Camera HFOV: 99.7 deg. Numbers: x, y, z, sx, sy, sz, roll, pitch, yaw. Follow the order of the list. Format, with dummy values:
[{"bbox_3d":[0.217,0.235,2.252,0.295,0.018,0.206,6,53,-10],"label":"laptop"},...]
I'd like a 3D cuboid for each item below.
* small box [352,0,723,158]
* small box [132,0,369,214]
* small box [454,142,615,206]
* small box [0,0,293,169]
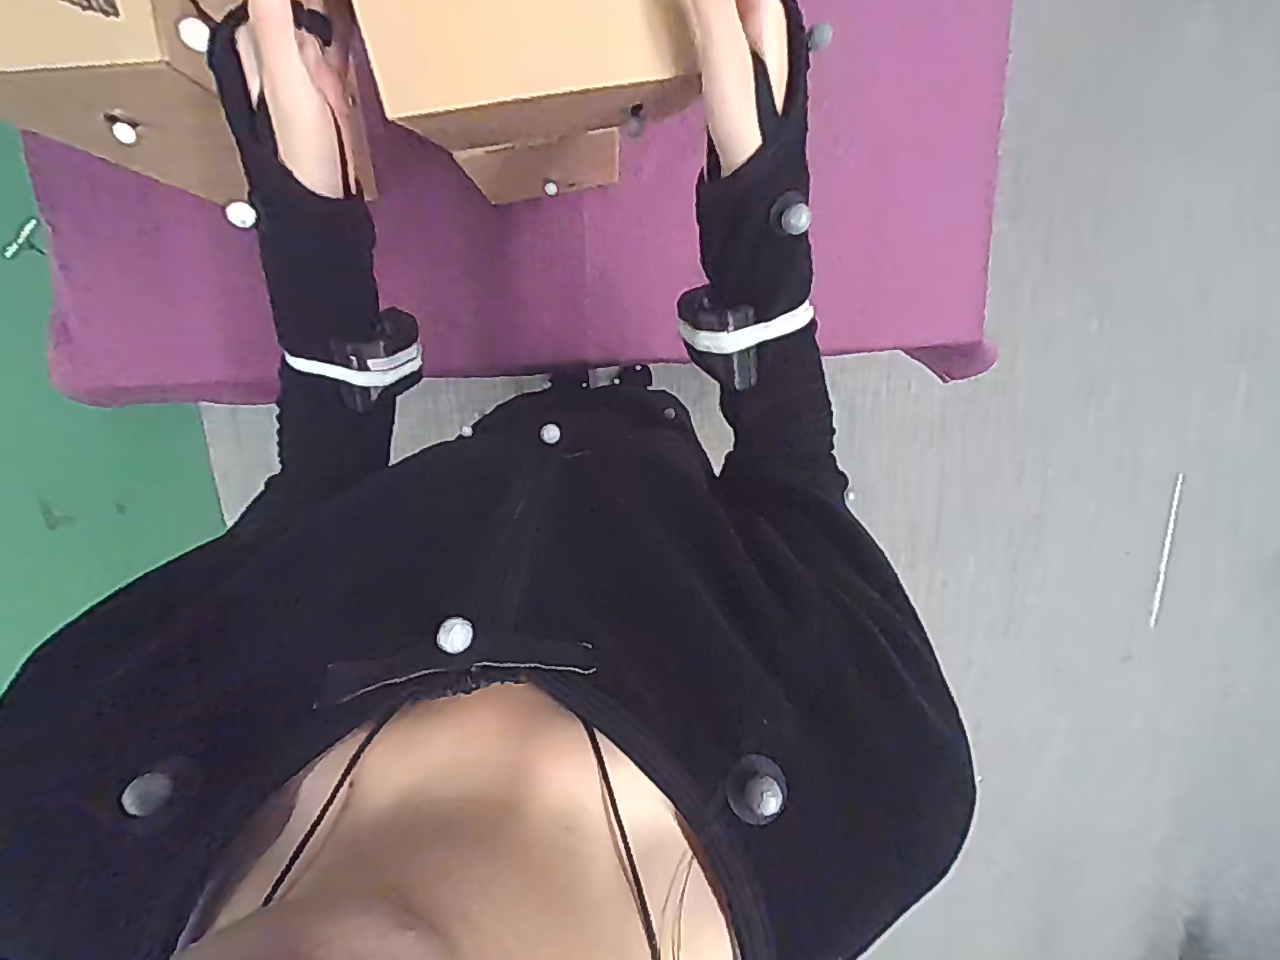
[{"bbox_3d":[-0.060,-0.294,0.311,0.179,0.176,0.168,-9,117,-2],"label":"small box"},{"bbox_3d":[-0.421,-0.404,0.592,0.179,0.176,0.168,-6,103,-2],"label":"small box"},{"bbox_3d":[-0.123,-0.429,0.598,0.168,0.176,0.179,-10,104,1],"label":"small box"},{"bbox_3d":[-0.414,-0.367,0.431,0.179,0.176,0.168,-5,103,0],"label":"small box"}]
